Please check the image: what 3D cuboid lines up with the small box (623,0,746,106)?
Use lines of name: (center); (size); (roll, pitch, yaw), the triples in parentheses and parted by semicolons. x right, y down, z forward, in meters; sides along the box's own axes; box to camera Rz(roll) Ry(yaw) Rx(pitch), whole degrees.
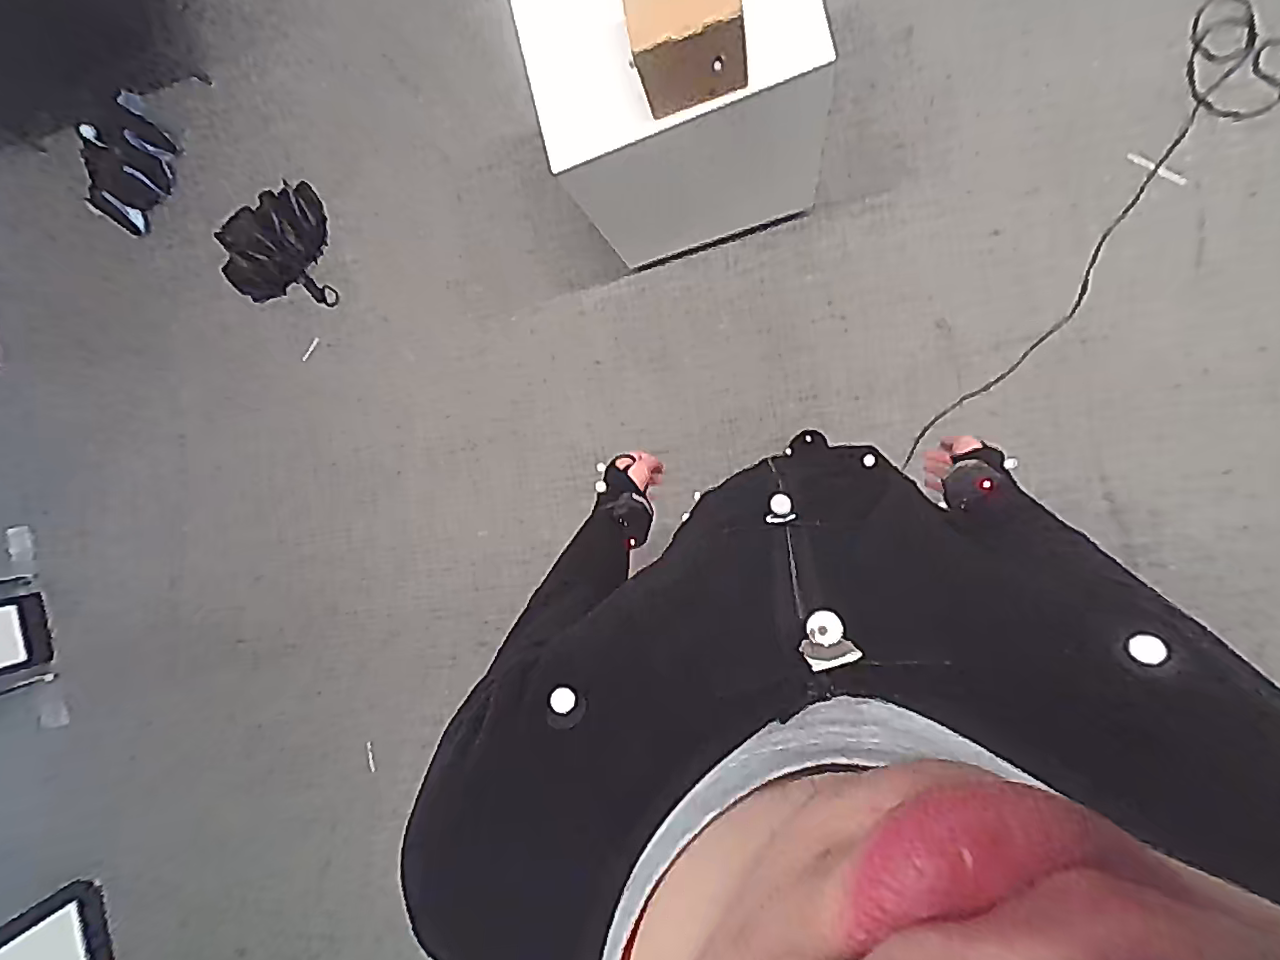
small box: (0.069, -0.727, 0.842); (0.168, 0.176, 0.179); (-11, 89, 13)
